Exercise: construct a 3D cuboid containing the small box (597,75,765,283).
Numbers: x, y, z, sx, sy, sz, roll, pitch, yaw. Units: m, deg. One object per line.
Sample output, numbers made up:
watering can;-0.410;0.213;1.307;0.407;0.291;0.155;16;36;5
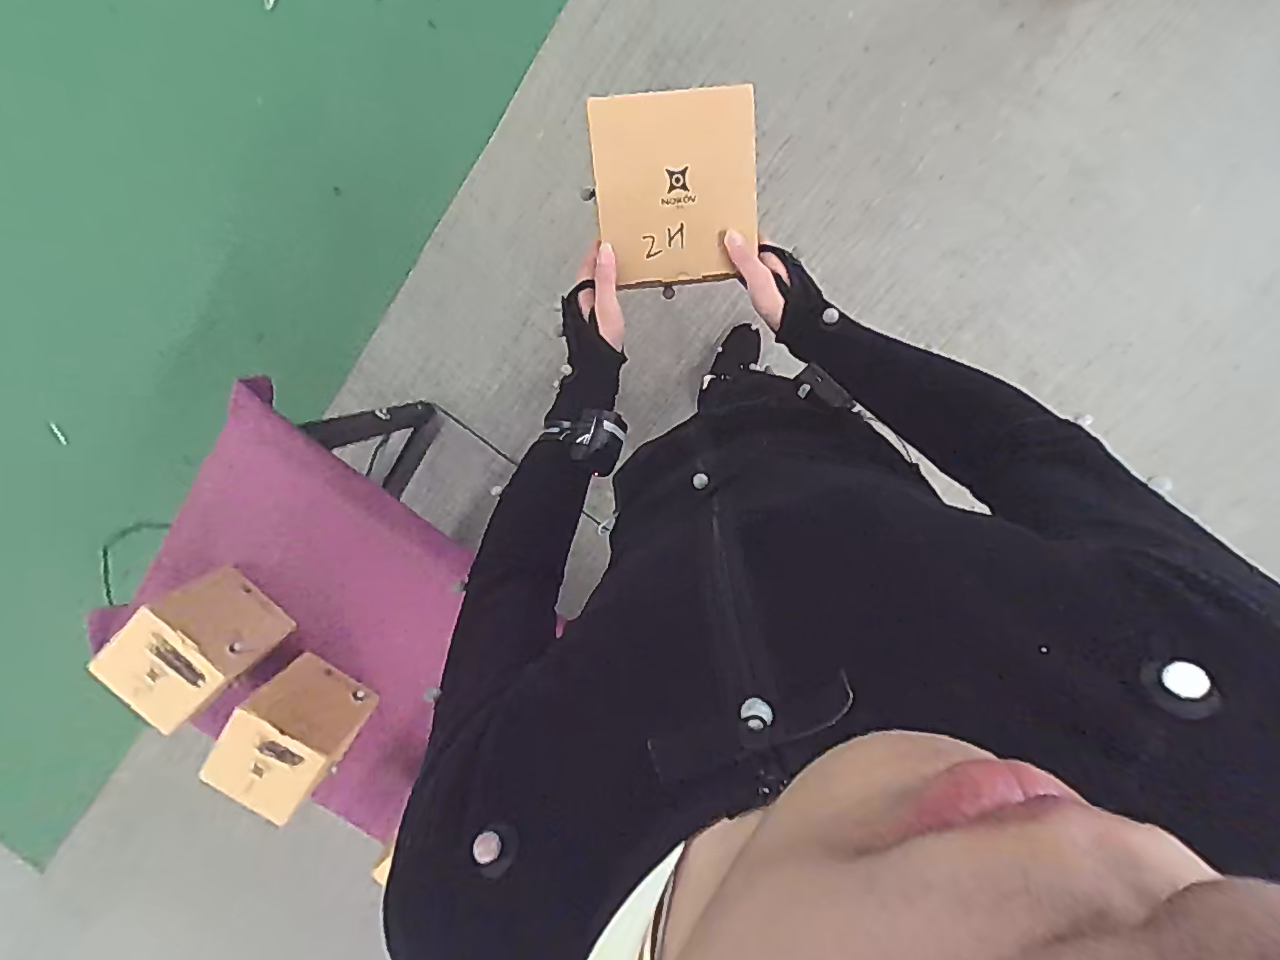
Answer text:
small box;0.039;-0.327;0.620;0.168;0.176;0.179;-5;109;-2
